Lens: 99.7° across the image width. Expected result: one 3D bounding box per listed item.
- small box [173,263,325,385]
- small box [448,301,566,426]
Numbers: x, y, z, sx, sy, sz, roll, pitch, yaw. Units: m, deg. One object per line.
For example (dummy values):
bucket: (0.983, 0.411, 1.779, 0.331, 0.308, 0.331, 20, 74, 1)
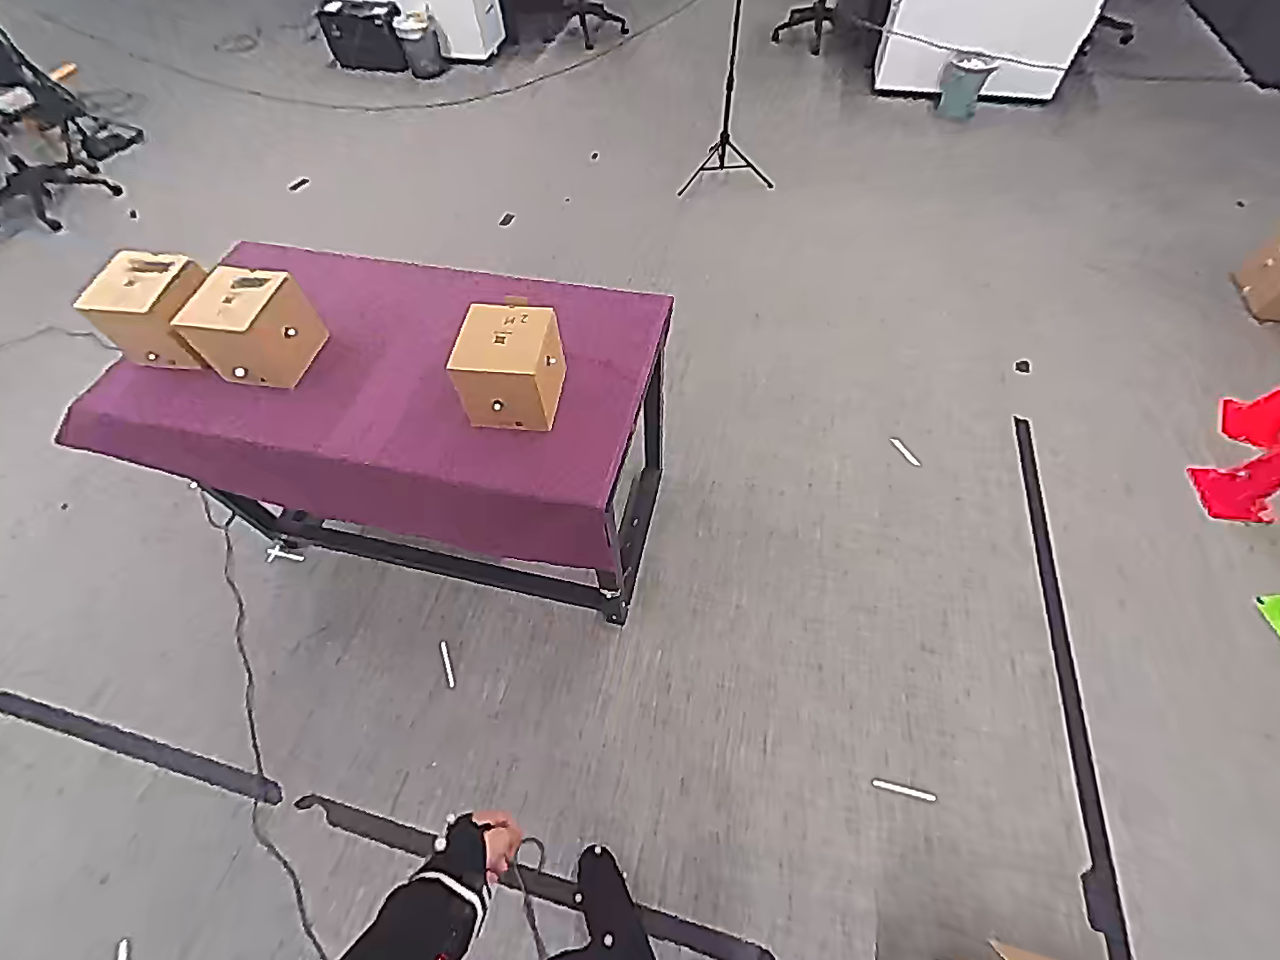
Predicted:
small box: (-0.814, -0.331, 1.153, 0.168, 0.176, 0.179, 7, 59, 7)
small box: (-0.250, -0.225, 1.065, 0.168, 0.176, 0.179, 5, 57, 5)
